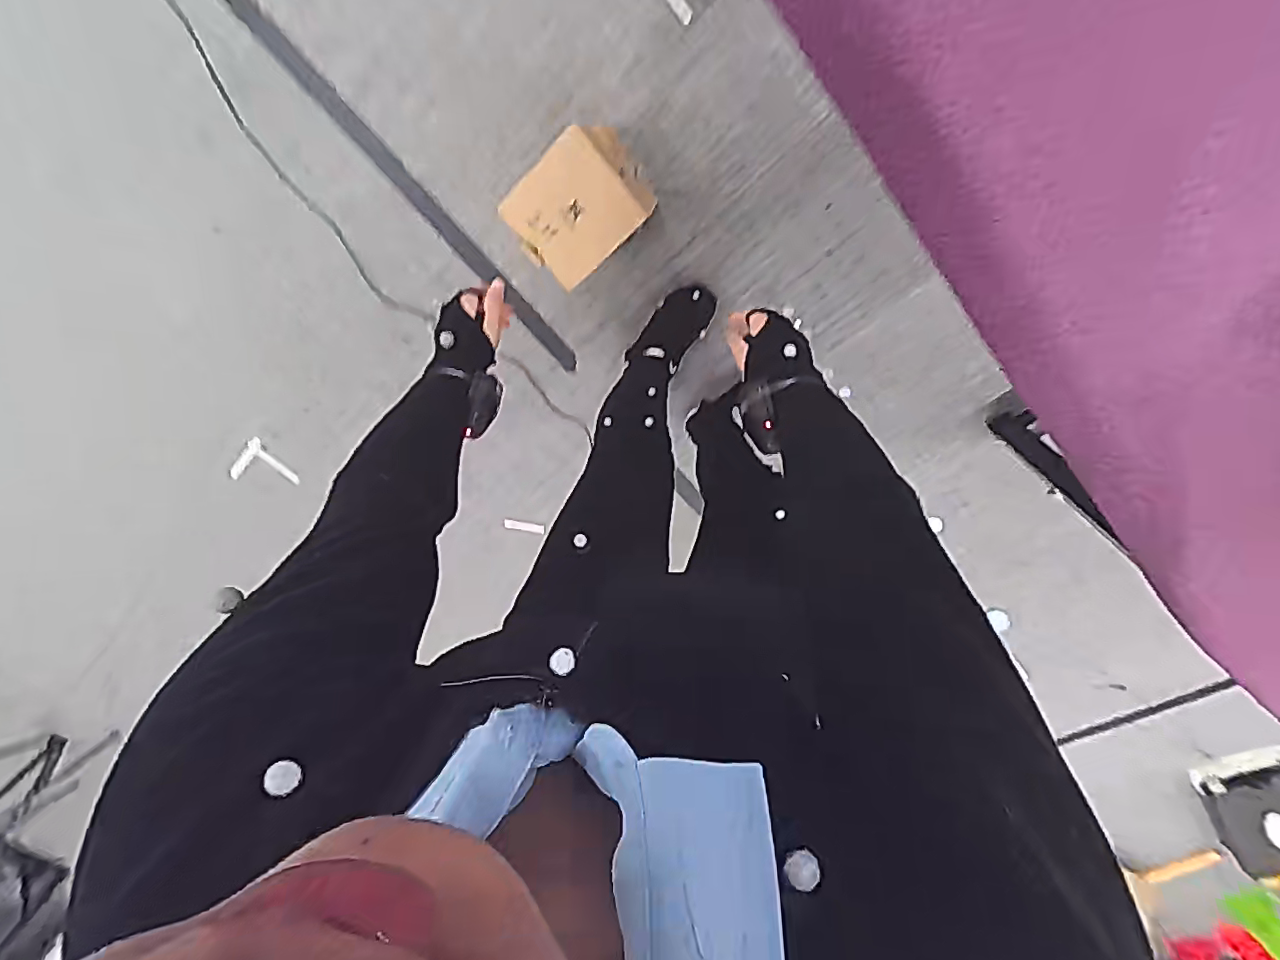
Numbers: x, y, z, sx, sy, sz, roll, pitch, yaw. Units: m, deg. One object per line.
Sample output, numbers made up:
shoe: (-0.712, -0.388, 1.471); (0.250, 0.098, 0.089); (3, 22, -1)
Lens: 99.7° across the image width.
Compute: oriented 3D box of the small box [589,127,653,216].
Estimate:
small box: (-0.089, -0.538, 1.041); (0.179, 0.176, 0.168); (-30, 114, 20)

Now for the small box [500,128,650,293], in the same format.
small box: (-0.099, -0.448, 0.902); (0.179, 0.176, 0.168); (-36, 112, 23)
